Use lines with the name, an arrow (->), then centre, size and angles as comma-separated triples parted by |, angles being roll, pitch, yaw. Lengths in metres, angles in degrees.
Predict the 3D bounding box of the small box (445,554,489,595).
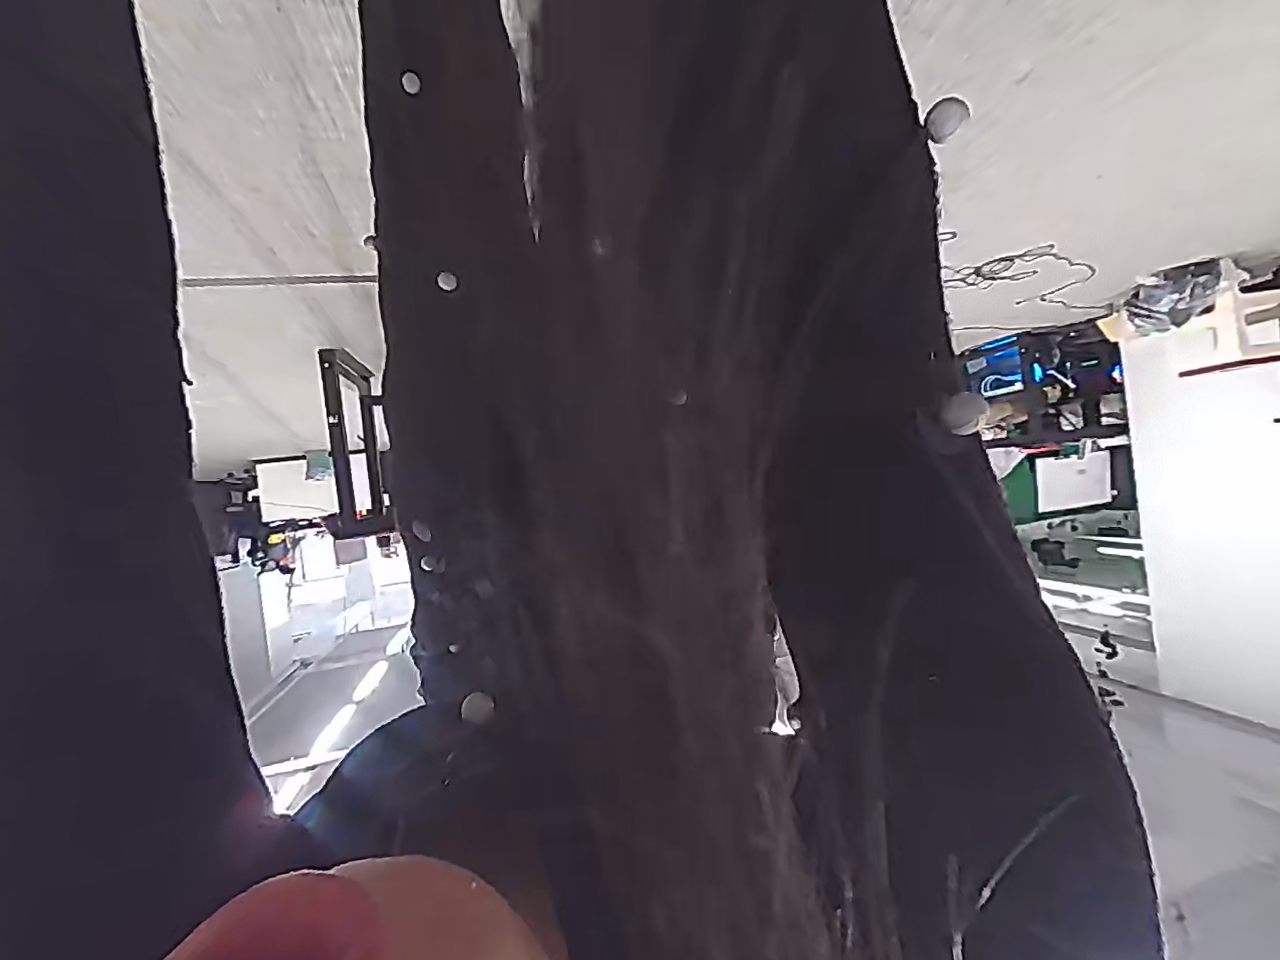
small box -> -0.831, 0.441, 2.585 | 0.179, 0.176, 0.168 | -8, 179, -19
